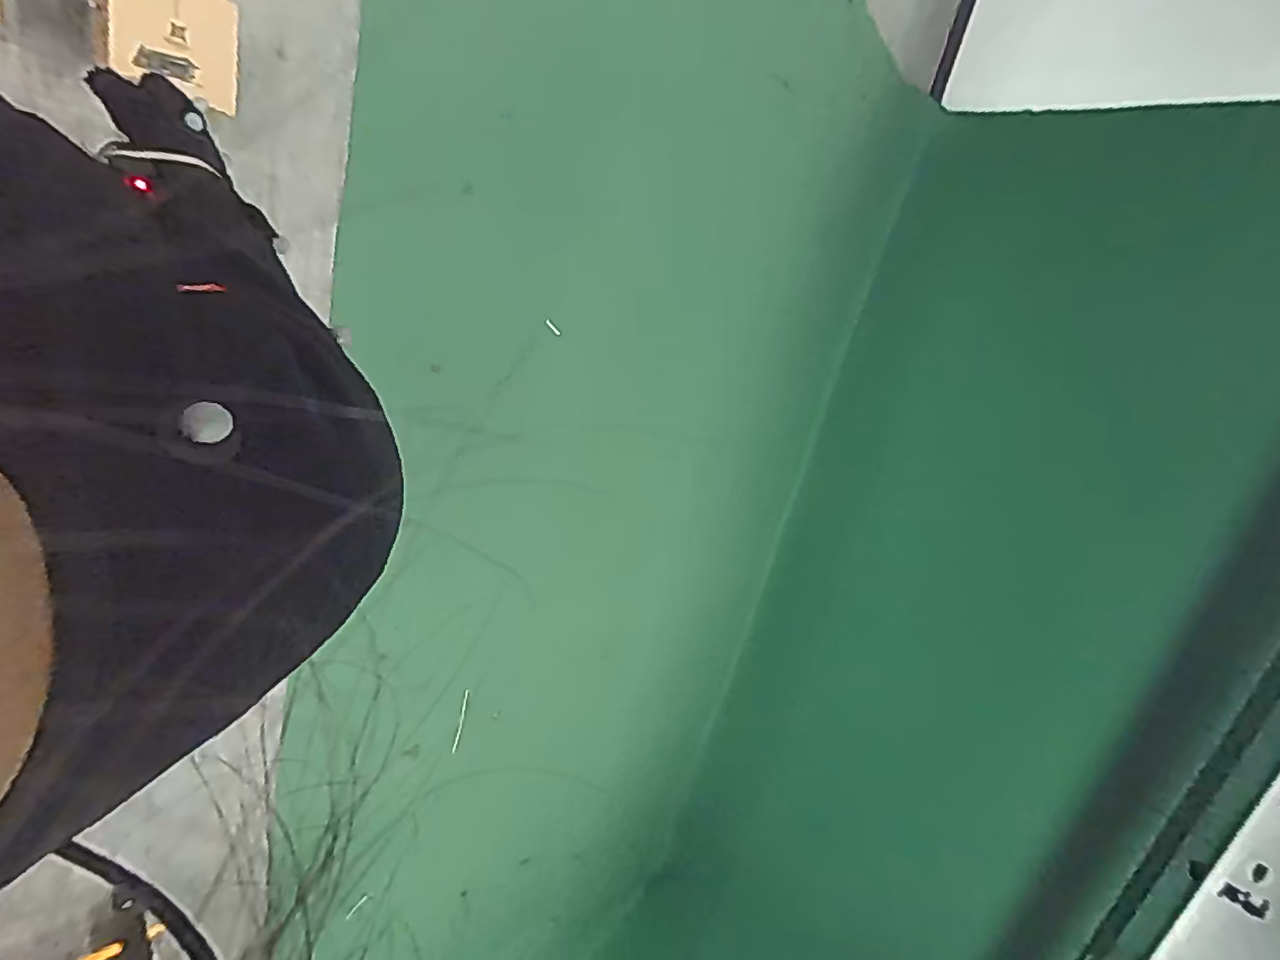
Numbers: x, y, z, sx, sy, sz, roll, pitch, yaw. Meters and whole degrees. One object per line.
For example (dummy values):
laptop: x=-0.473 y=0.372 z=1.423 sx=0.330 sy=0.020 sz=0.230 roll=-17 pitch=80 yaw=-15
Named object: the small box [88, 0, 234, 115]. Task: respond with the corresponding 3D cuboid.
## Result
small box: x=-0.820 y=-0.756 z=0.927 sx=0.168 sy=0.176 sz=0.179 roll=-5 pitch=115 yaw=-49
